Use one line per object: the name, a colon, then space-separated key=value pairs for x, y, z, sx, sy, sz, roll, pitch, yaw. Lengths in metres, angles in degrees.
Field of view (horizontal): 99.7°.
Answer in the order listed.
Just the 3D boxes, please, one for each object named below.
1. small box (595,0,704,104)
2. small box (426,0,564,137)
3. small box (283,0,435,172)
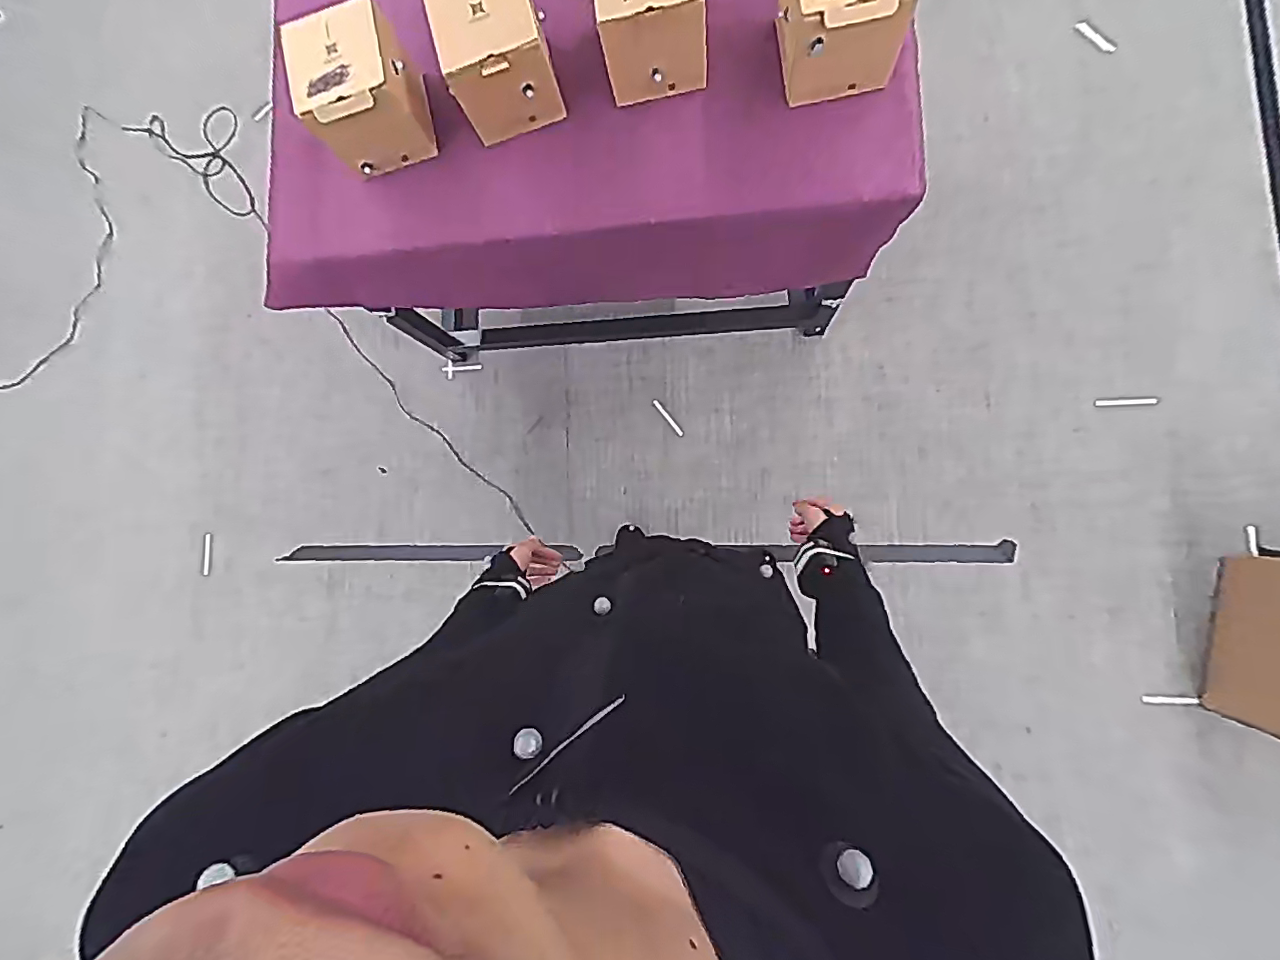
small box: x=0.016 y=-0.783 z=0.903 sx=0.168 sy=0.176 sz=0.179 roll=-7 pitch=85 yaw=8
small box: x=-0.243 y=-0.736 z=0.936 sx=0.168 sy=0.176 sz=0.179 roll=-16 pitch=83 yaw=6
small box: x=-0.488 y=-0.686 z=0.964 sx=0.168 sy=0.176 sz=0.179 roll=-14 pitch=83 yaw=6
